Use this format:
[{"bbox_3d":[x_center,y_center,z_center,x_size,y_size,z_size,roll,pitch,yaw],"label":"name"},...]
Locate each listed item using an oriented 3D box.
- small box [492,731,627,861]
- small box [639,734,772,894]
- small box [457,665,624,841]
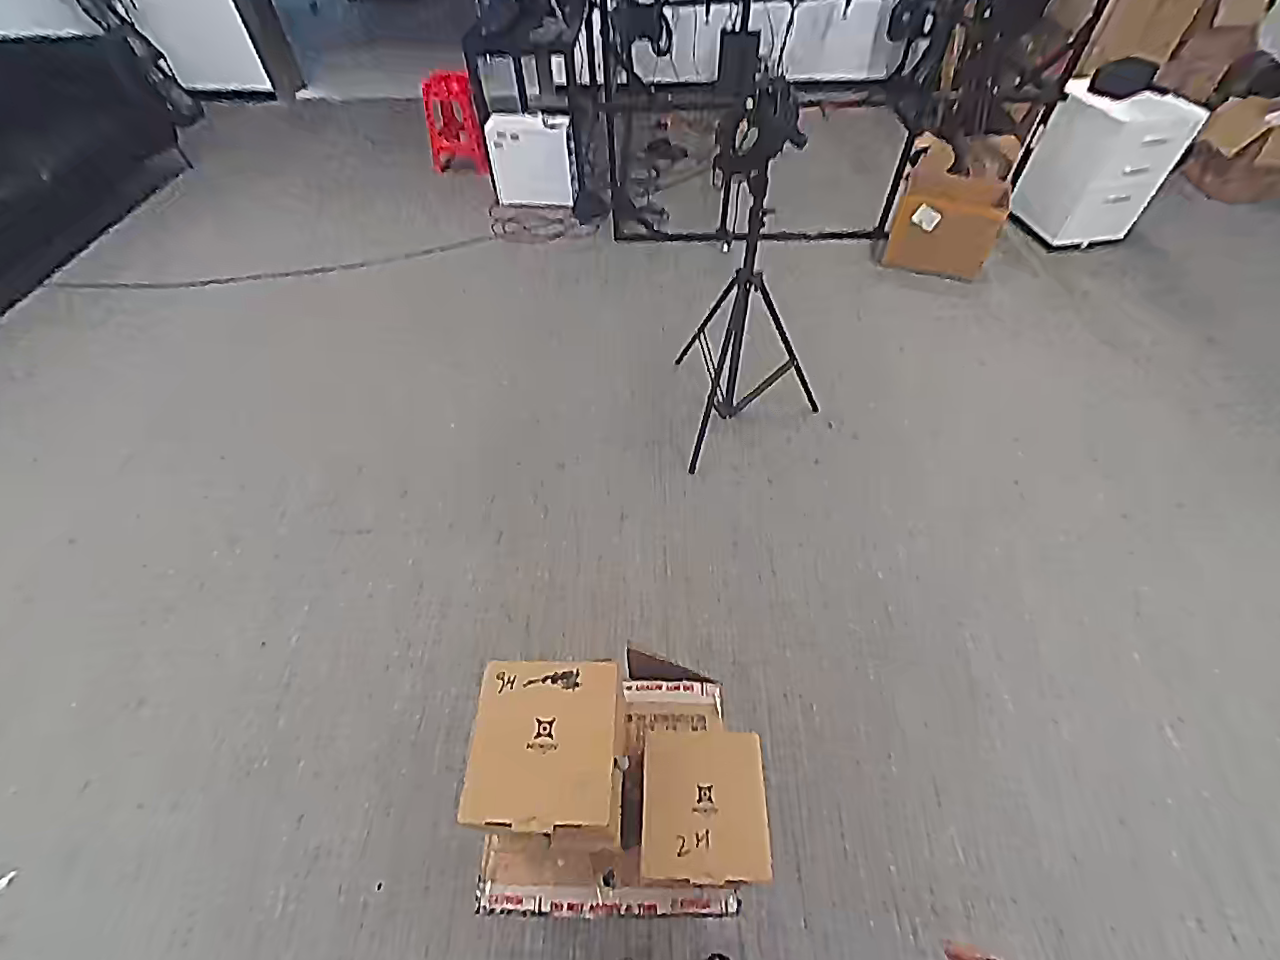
[{"bbox_3d":[-0.107,0.455,0.802,0.168,0.176,0.179,-2,54,1],"label":"small box"},{"bbox_3d":[0.084,0.482,0.778,0.168,0.176,0.179,2,52,1],"label":"small box"},{"bbox_3d":[-0.108,0.346,0.679,0.168,0.176,0.179,0,54,2],"label":"small box"}]
